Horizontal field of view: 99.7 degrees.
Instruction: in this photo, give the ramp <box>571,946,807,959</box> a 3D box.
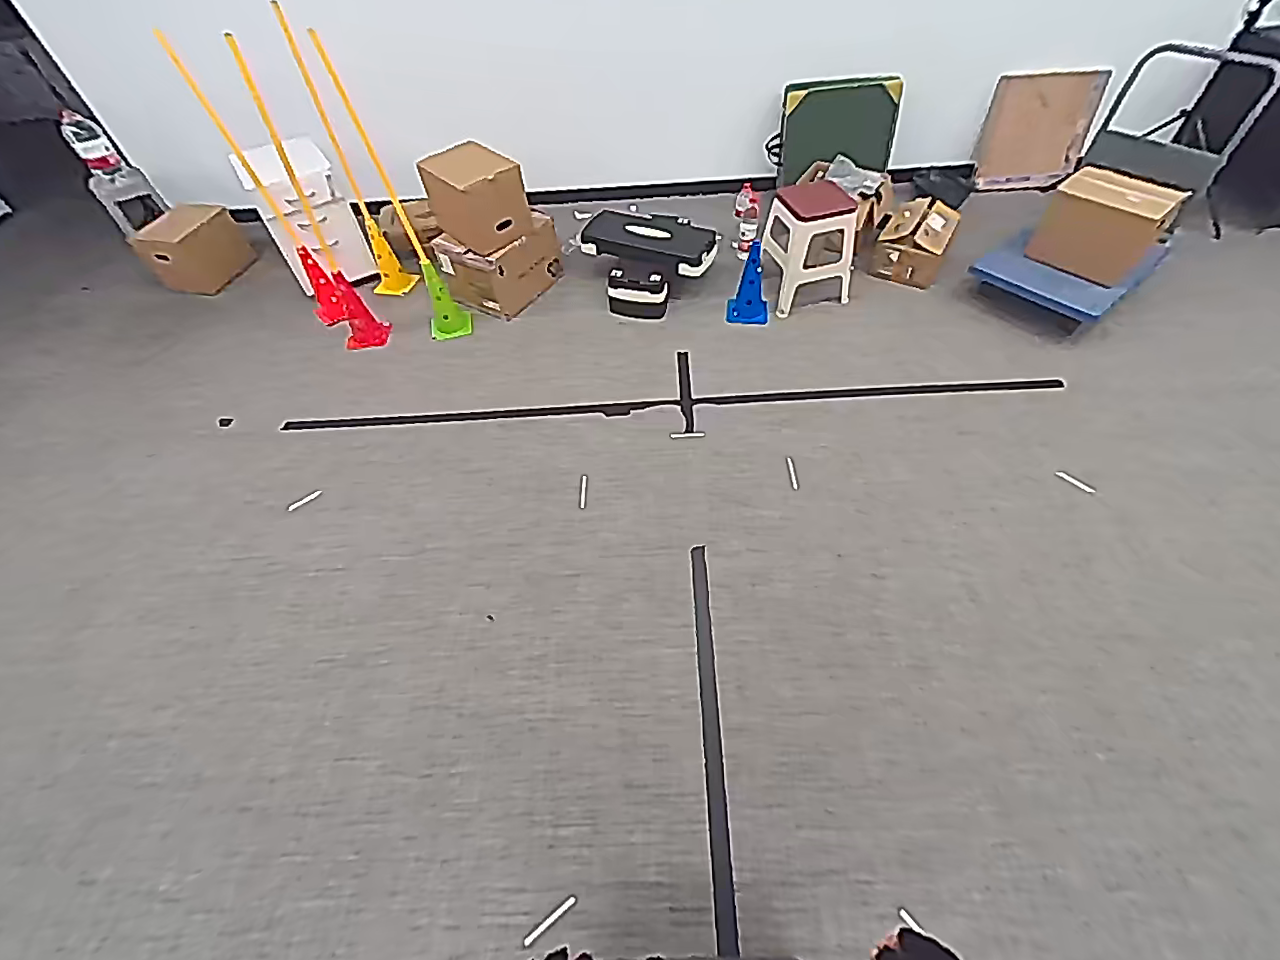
[{"bbox_3d":[0.112,1.401,0.866,0.509,0.206,0.991,-3,52,0],"label":"ramp"}]
